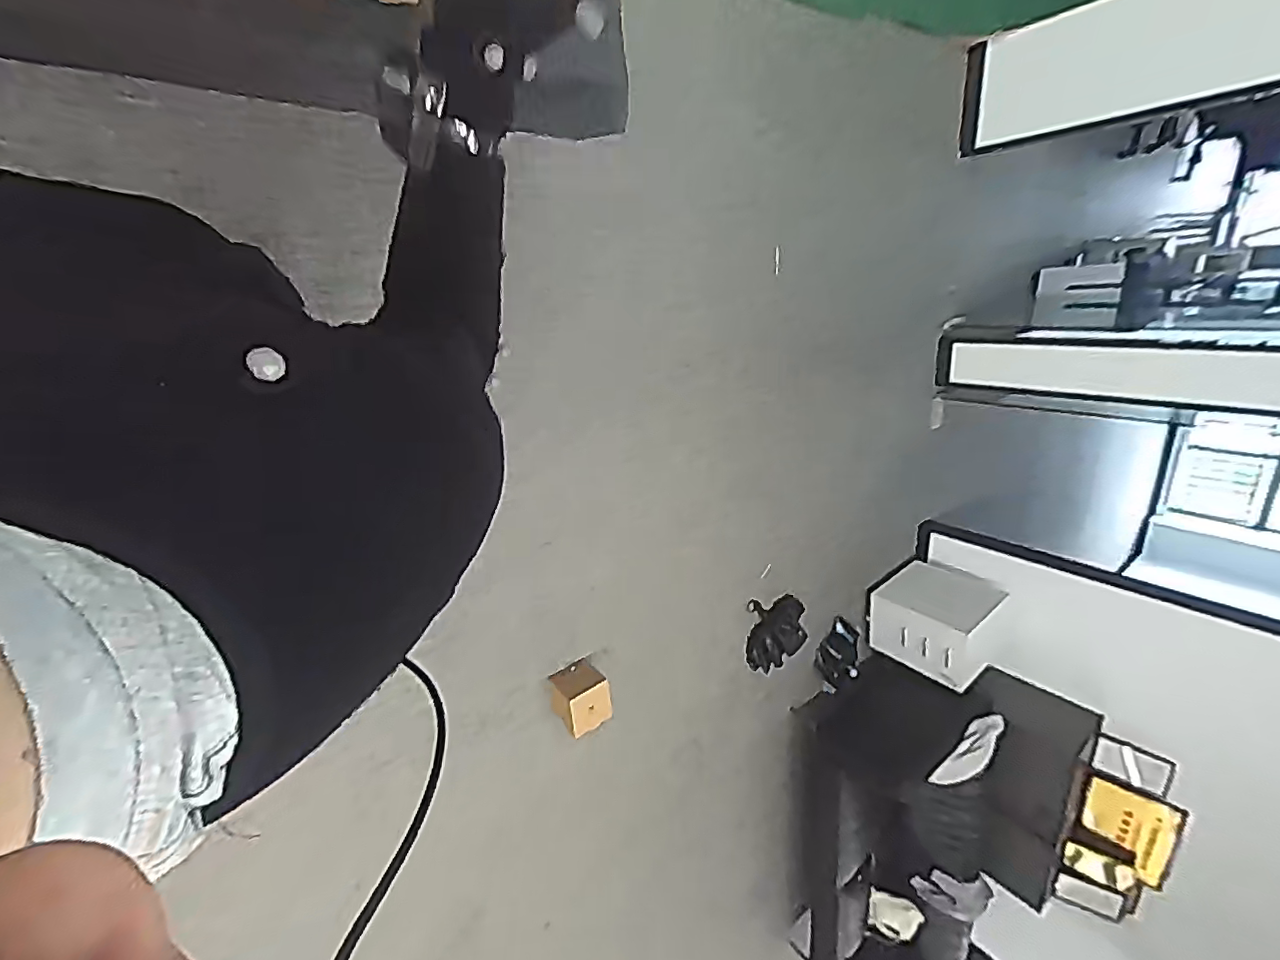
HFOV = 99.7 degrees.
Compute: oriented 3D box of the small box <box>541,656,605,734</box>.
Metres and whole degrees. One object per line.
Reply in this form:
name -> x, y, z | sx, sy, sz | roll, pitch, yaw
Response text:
small box -> -0.252, 0.798, 2.021 | 0.168, 0.176, 0.179 | -21, 115, -34
